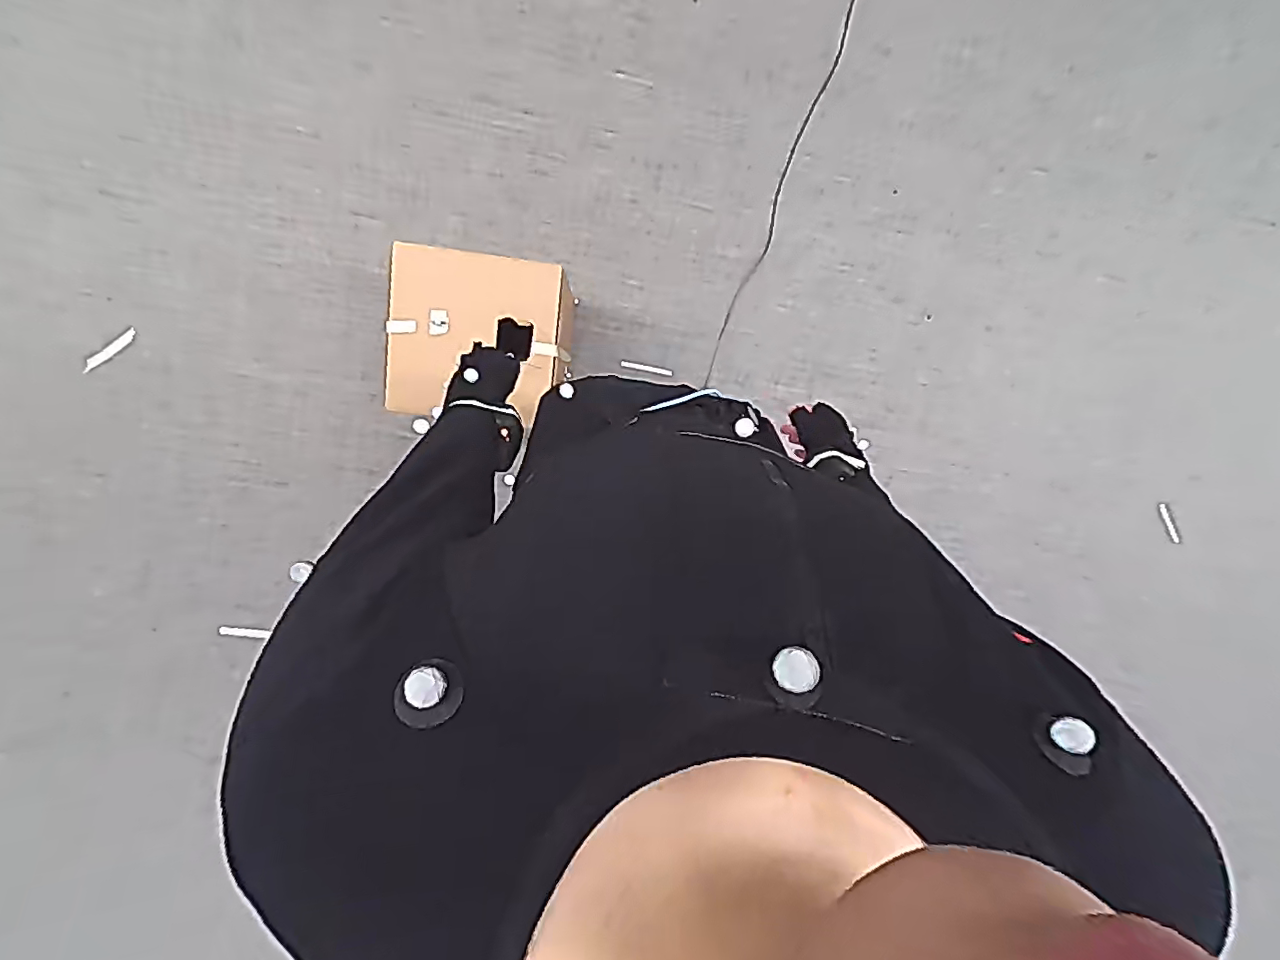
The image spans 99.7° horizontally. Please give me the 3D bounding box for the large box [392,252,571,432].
[{"bbox_3d":[-0.330,-0.300,1.218,0.320,0.408,0.320,7,101,-6],"label":"large box"}]
